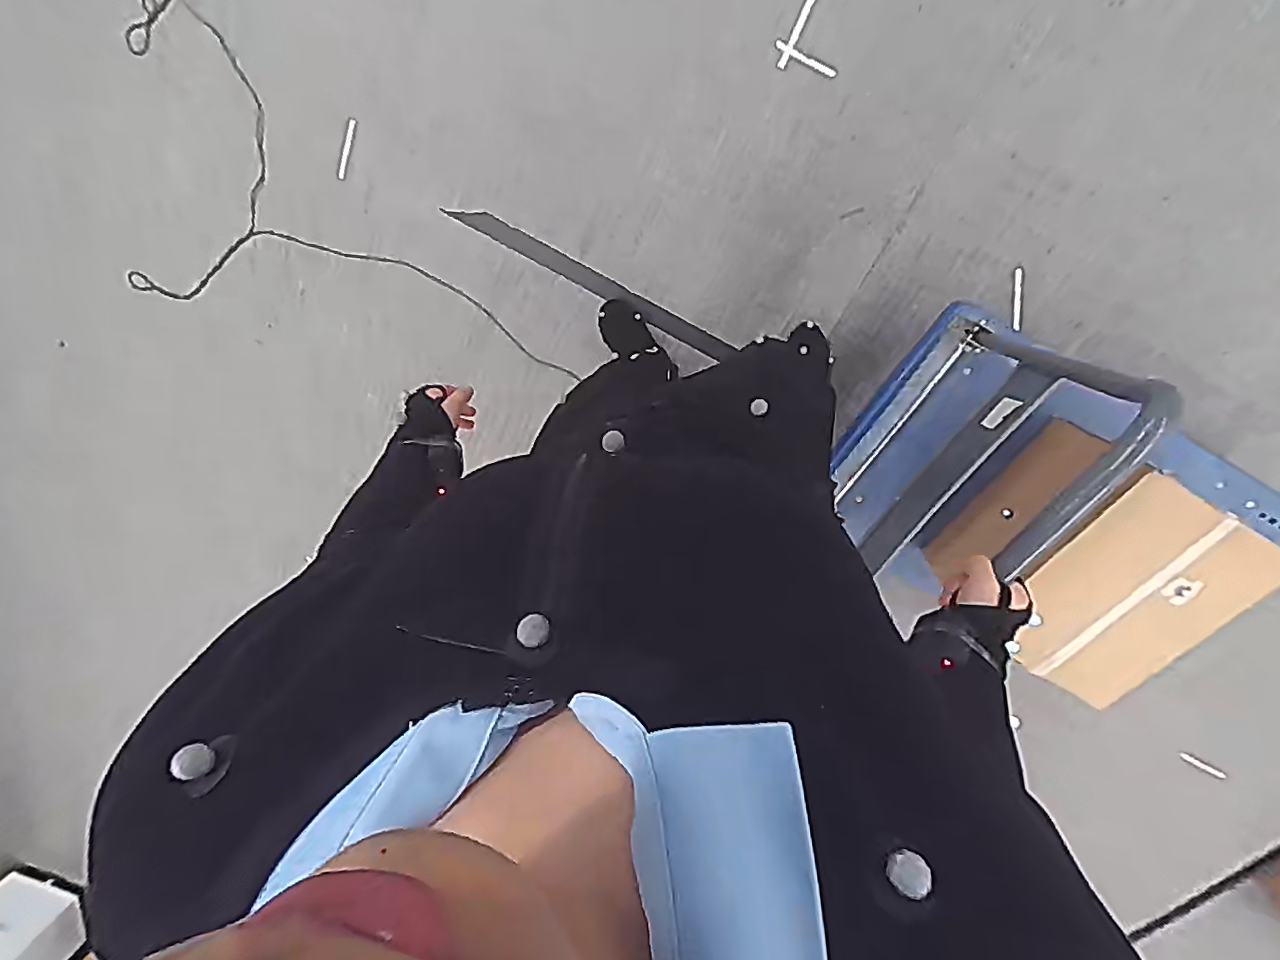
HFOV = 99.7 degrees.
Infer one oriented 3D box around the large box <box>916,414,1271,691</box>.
[{"bbox_3d":[0.869,0.135,1.119,0.320,0.320,0.408,31,113,-4],"label":"large box"}]
